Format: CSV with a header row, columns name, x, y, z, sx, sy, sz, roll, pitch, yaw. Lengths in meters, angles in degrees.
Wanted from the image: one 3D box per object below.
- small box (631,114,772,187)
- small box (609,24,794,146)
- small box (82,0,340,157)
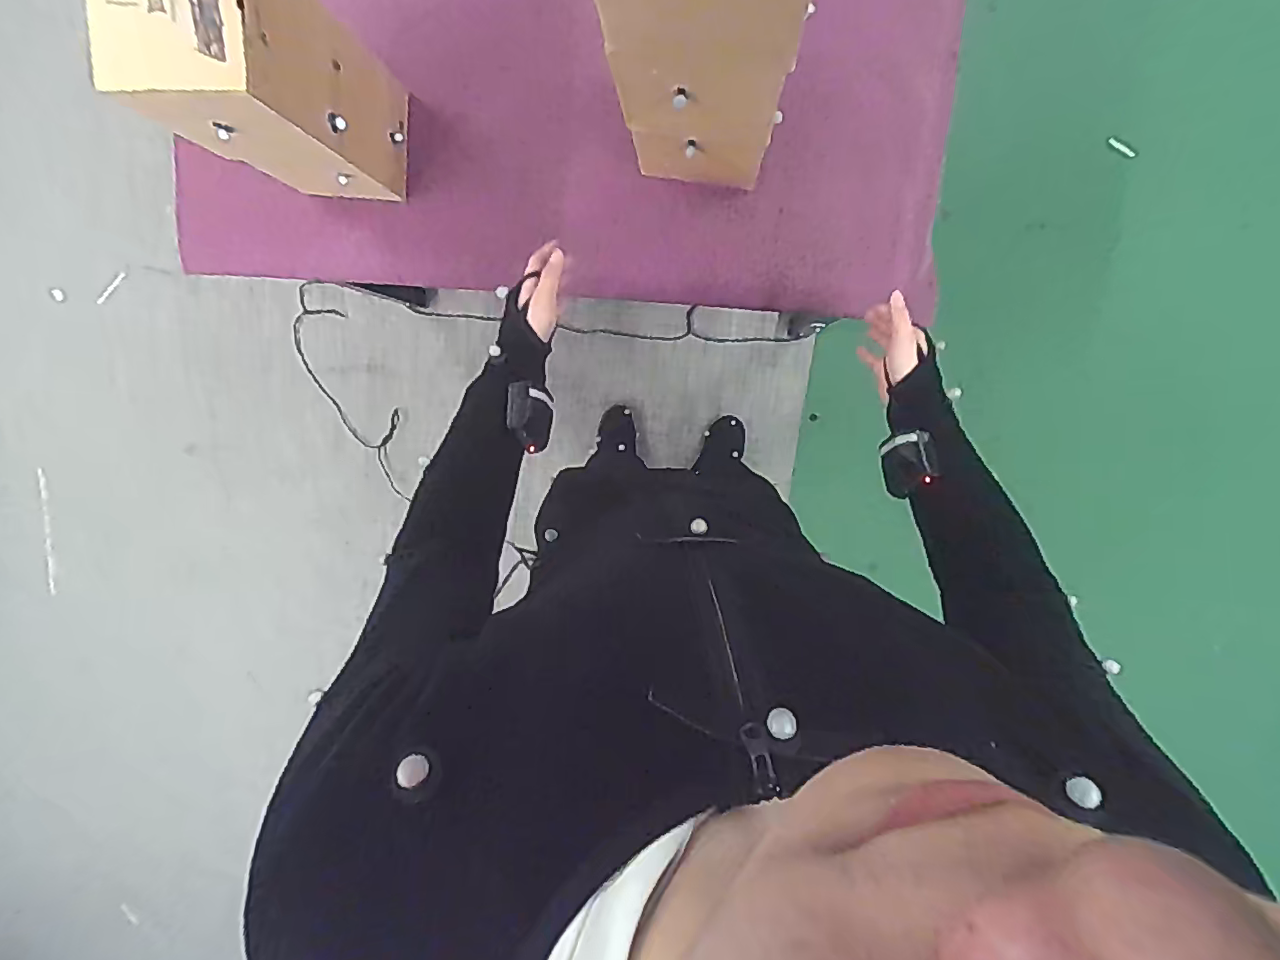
name,x,y,z,sx,sy,sz,roll,pitch,yaw
small box,0.096,-0.519,0.730,0.179,0.176,0.168,11,100,5
small box,0.078,-0.482,0.571,0.179,0.176,0.168,11,100,5
small box,-0.468,-0.492,0.616,0.179,0.176,0.168,4,99,5
